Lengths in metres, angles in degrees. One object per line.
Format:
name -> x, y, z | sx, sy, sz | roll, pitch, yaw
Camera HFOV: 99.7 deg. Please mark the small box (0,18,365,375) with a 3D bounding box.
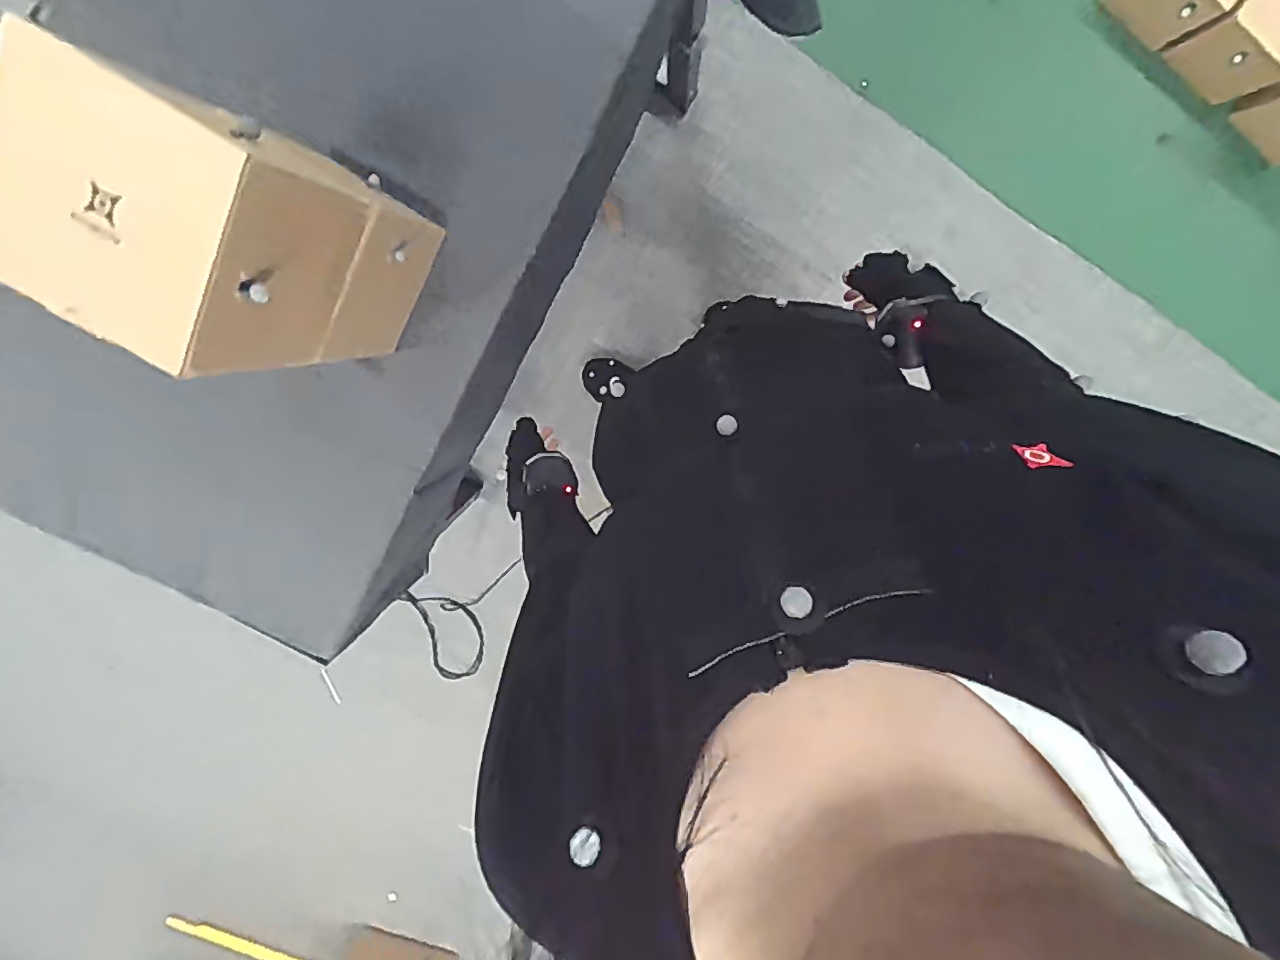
small box -> -0.368, -0.213, 0.456 | 0.168, 0.176, 0.179 | 30, 106, -6
